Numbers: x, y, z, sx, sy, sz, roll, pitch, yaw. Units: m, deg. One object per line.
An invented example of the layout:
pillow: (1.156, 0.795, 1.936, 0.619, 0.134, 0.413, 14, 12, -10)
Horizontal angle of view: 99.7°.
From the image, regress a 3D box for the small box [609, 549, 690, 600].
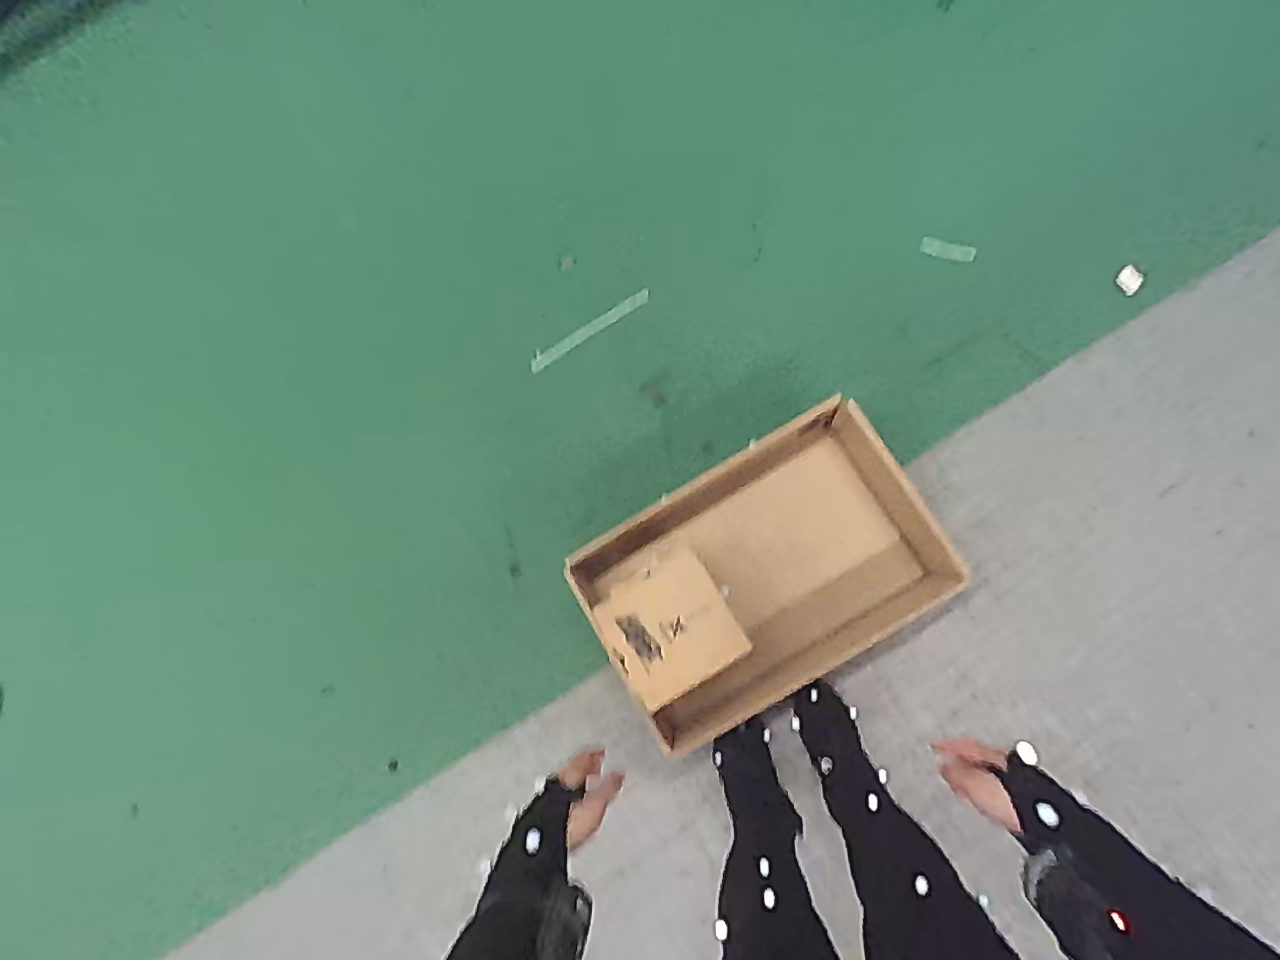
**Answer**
small box: (0.063, 0.242, 1.018, 0.168, 0.176, 0.179, -32, 81, -1)

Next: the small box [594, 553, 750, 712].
small box: (0.051, 0.230, 0.854, 0.179, 0.176, 0.168, -31, 82, -1)
